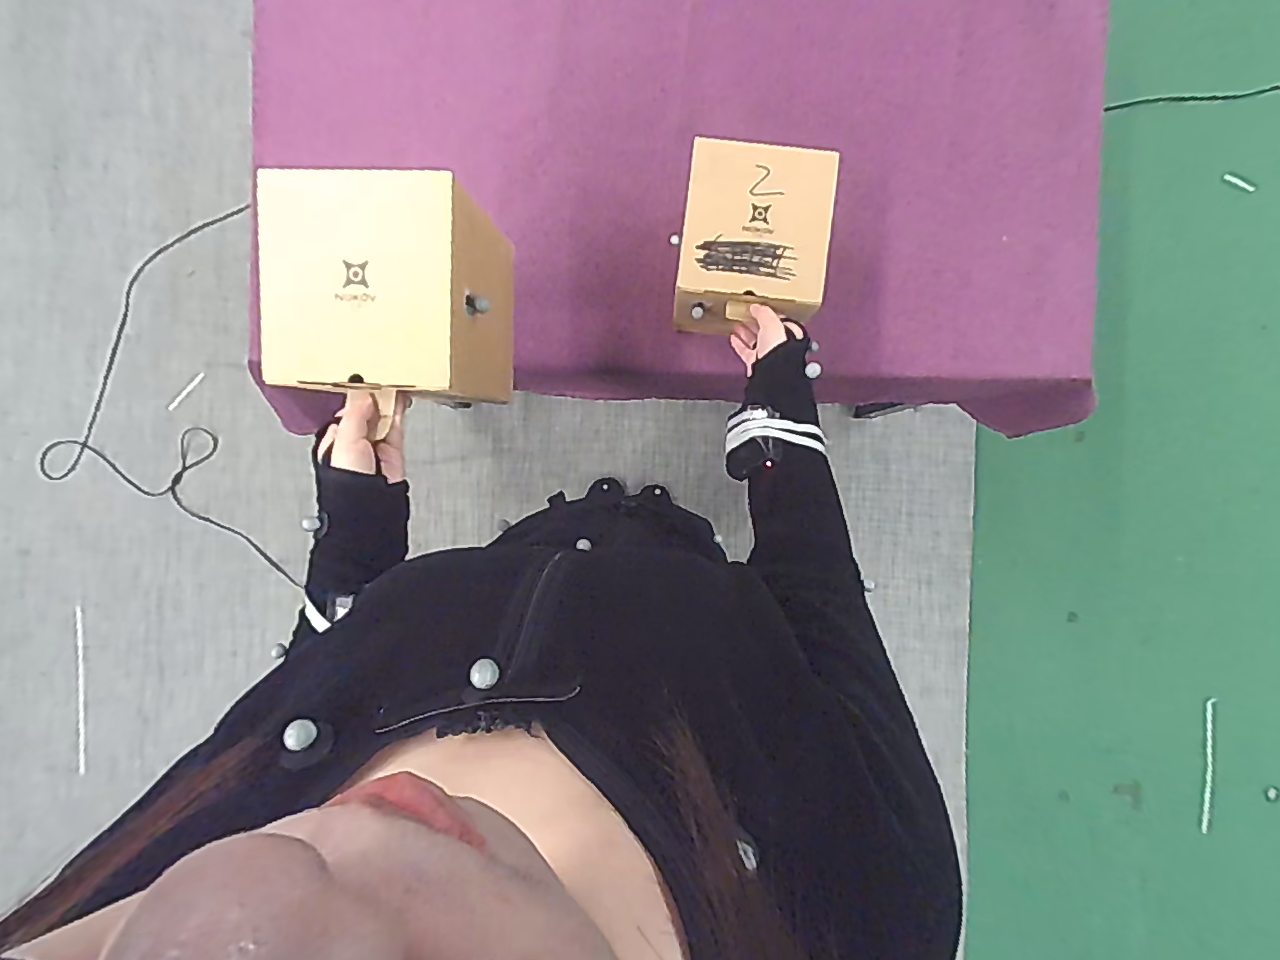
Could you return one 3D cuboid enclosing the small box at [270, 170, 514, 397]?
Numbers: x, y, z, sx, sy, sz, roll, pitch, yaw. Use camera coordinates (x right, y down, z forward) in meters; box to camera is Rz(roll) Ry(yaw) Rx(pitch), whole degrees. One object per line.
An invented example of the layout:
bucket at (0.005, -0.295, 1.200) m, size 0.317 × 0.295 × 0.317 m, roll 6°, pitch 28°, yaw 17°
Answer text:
small box at (-0.230, -0.179, 0.540) m, size 0.168 × 0.176 × 0.179 m, roll 3°, pitch 96°, yaw 3°
